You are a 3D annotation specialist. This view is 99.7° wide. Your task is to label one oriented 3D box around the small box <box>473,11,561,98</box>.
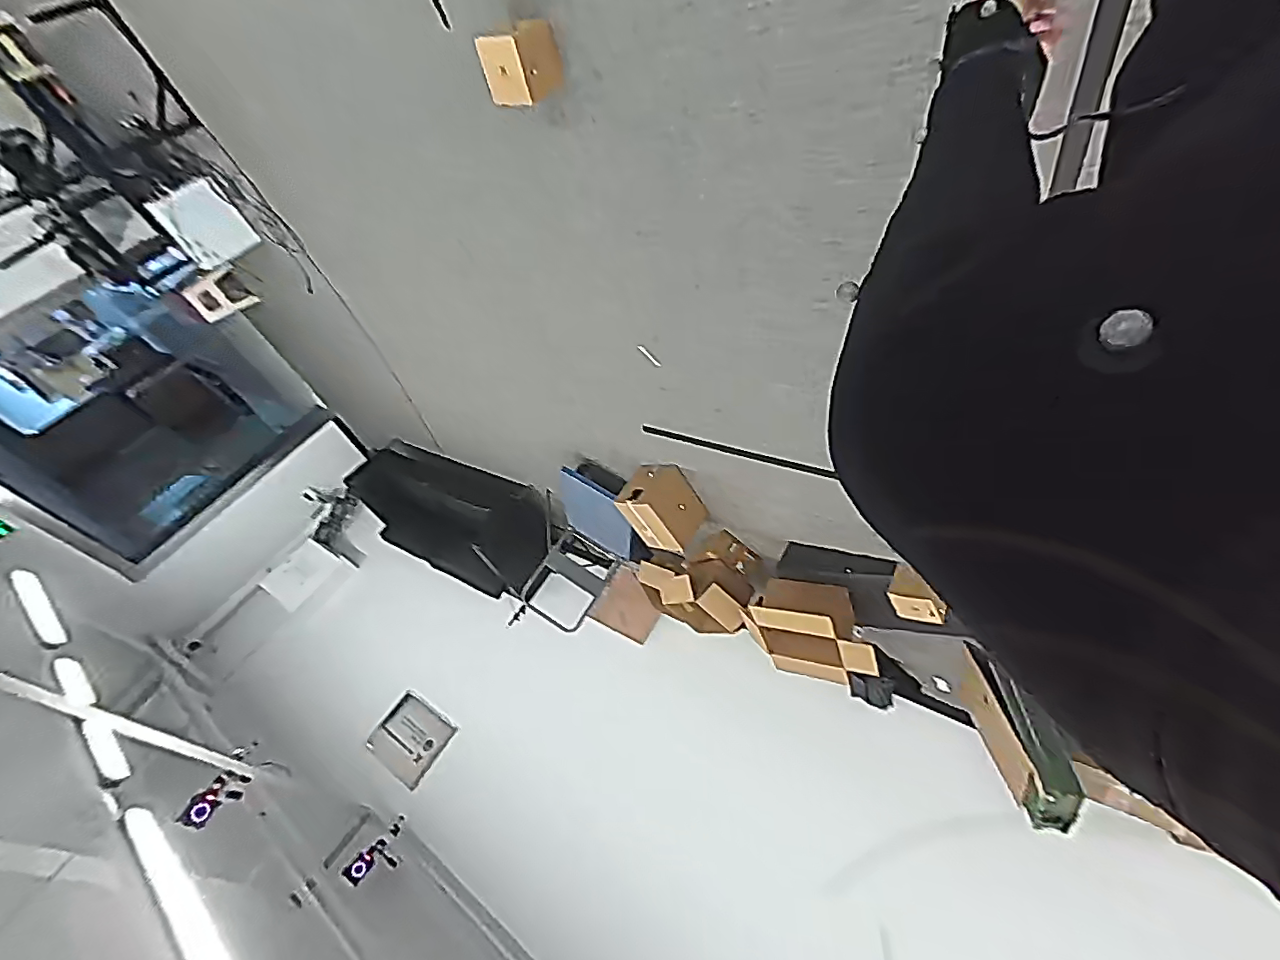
[{"bbox_3d":[-0.371,-1.307,1.657,0.168,0.176,0.179,21,151,26],"label":"small box"}]
